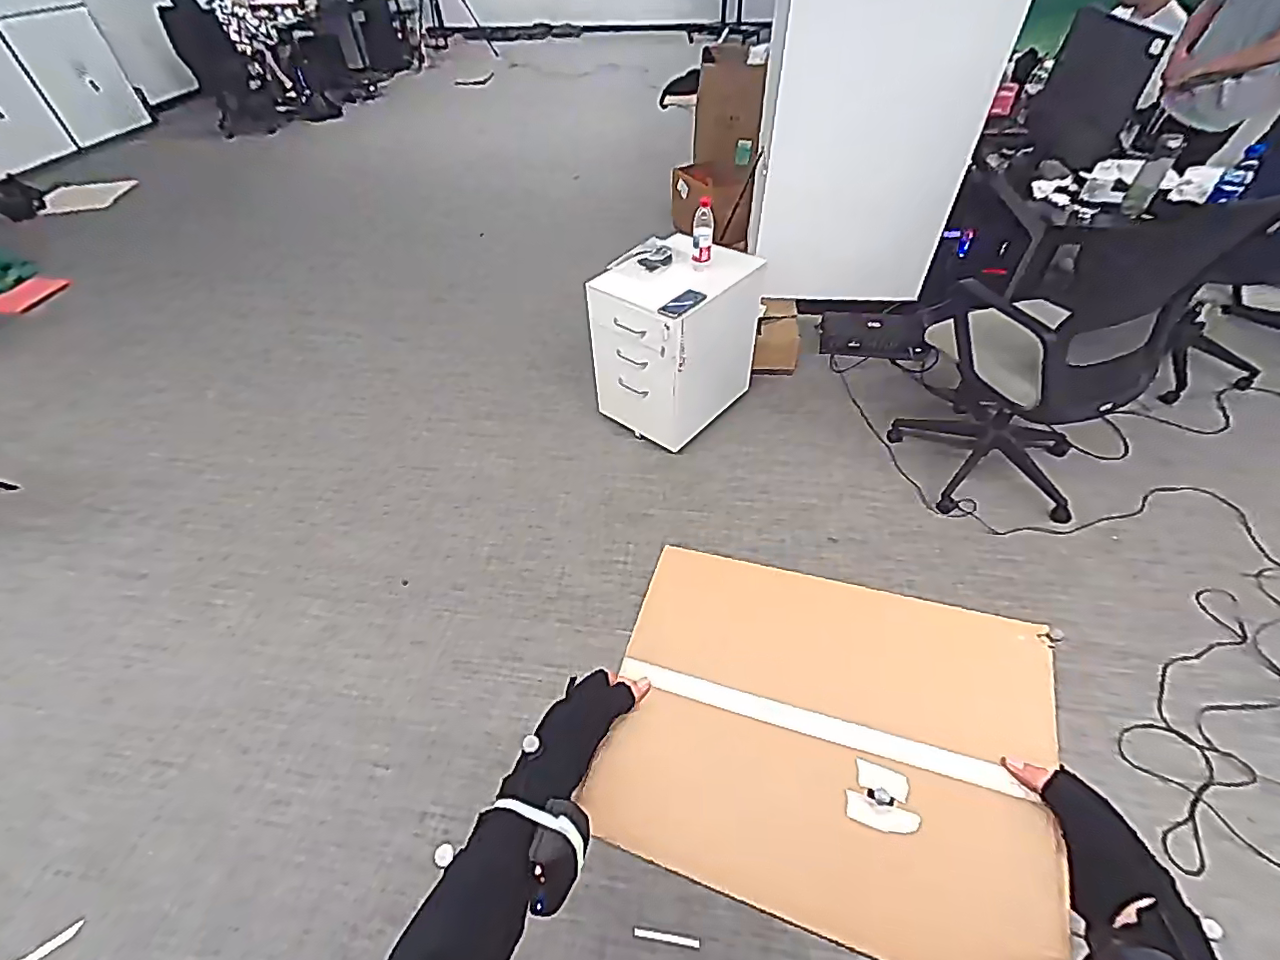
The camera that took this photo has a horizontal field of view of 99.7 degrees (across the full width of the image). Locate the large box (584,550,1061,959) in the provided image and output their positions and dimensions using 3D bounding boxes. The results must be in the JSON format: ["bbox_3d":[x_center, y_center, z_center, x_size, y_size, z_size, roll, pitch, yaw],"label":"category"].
[{"bbox_3d":[0.199,0.324,0.657,0.408,0.320,0.320,10,58,19],"label":"large box"}]
